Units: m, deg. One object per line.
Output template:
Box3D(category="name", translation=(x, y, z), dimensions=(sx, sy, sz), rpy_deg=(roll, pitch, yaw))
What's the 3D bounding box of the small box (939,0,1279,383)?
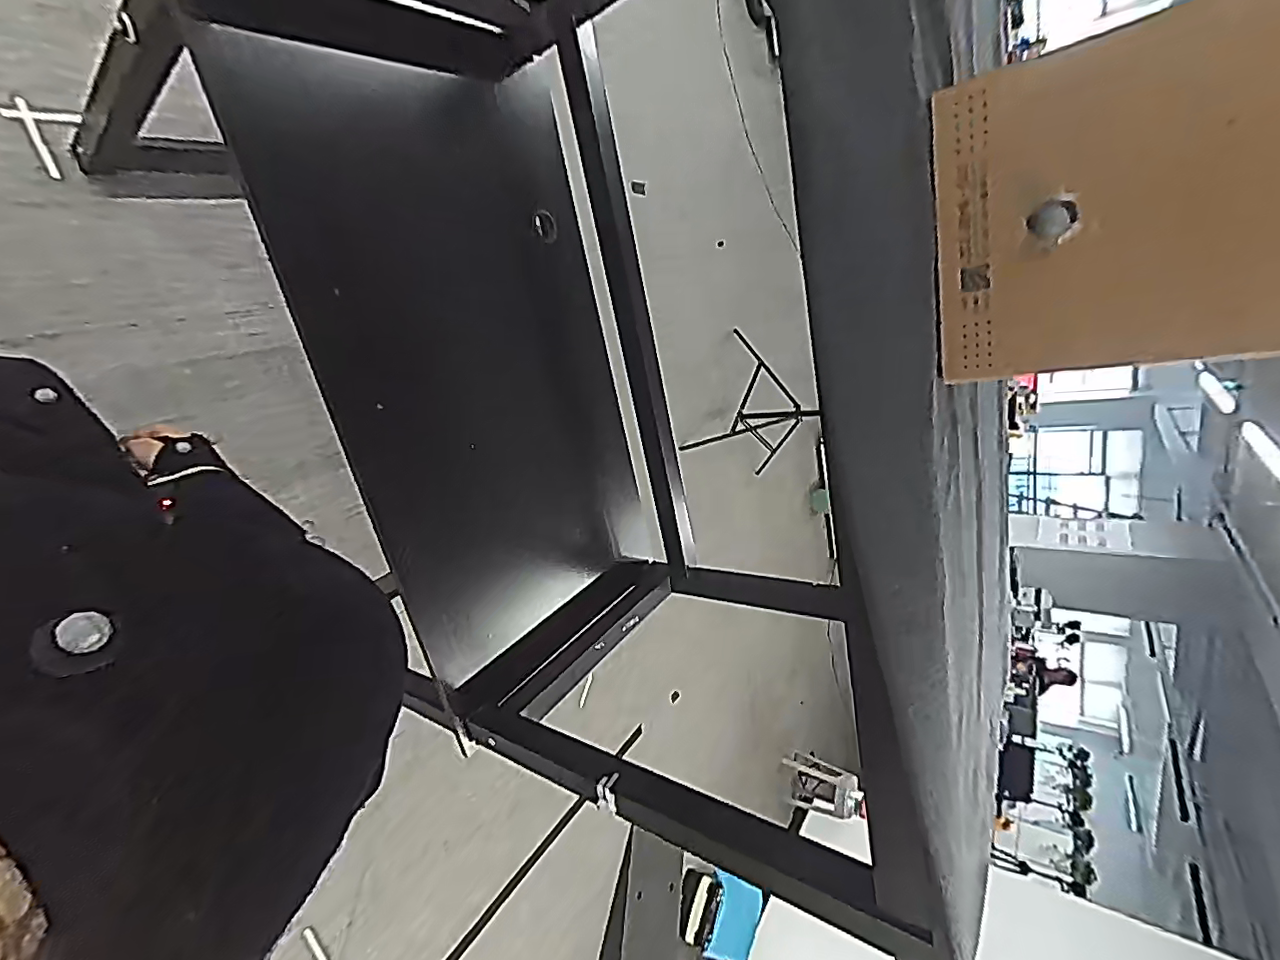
Box3D(category="small box", translation=(0.297, -0.165, 0.347), dimensions=(0.179, 0.176, 0.168), rpy_deg=(-31, 115, -50))
